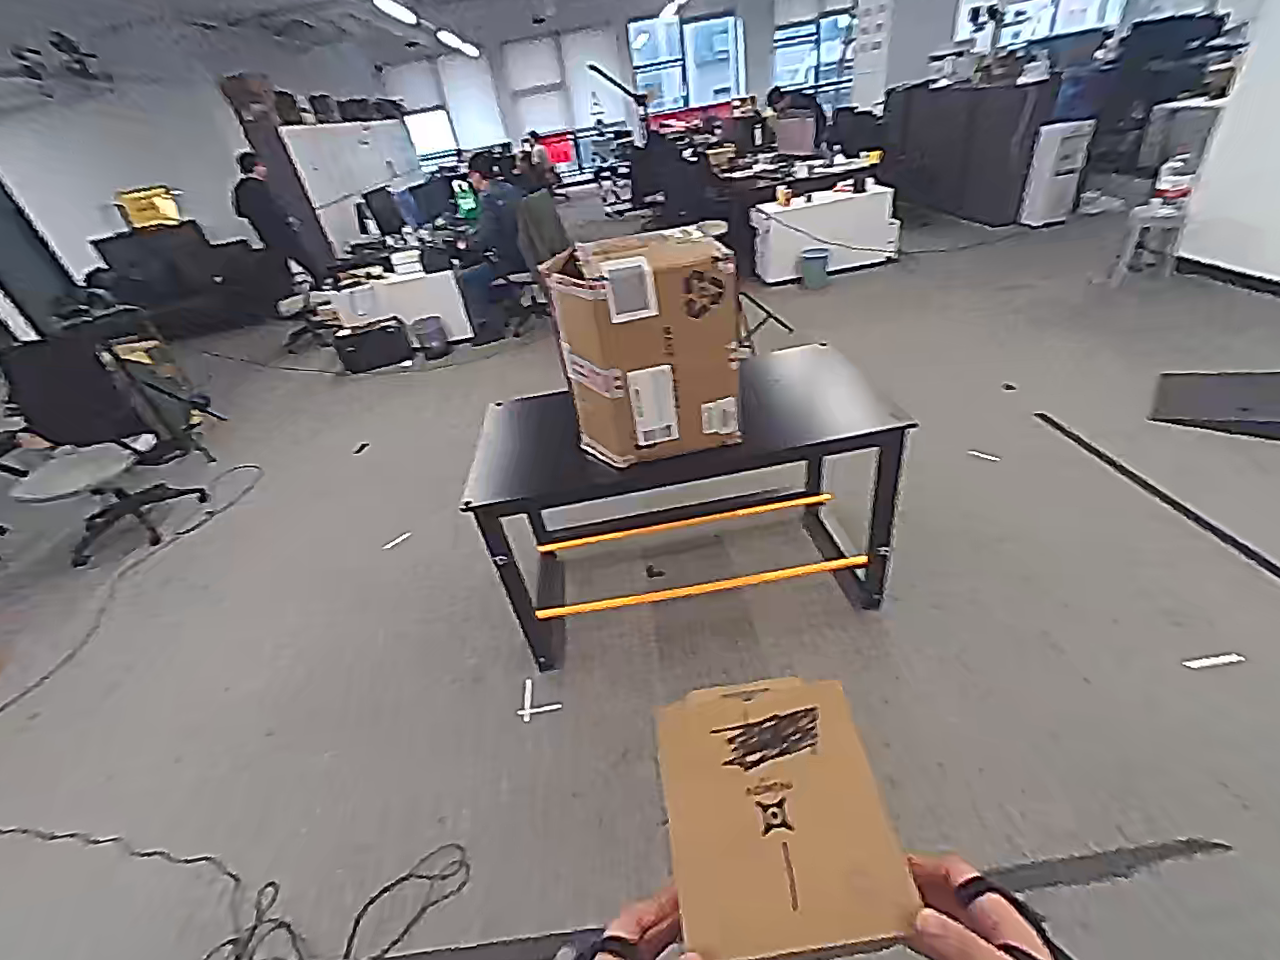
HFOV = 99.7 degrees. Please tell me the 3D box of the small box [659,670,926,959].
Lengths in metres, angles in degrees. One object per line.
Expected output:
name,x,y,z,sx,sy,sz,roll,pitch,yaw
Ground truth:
small box,0.113,0.296,0.477,0.168,0.176,0.179,-10,46,1
